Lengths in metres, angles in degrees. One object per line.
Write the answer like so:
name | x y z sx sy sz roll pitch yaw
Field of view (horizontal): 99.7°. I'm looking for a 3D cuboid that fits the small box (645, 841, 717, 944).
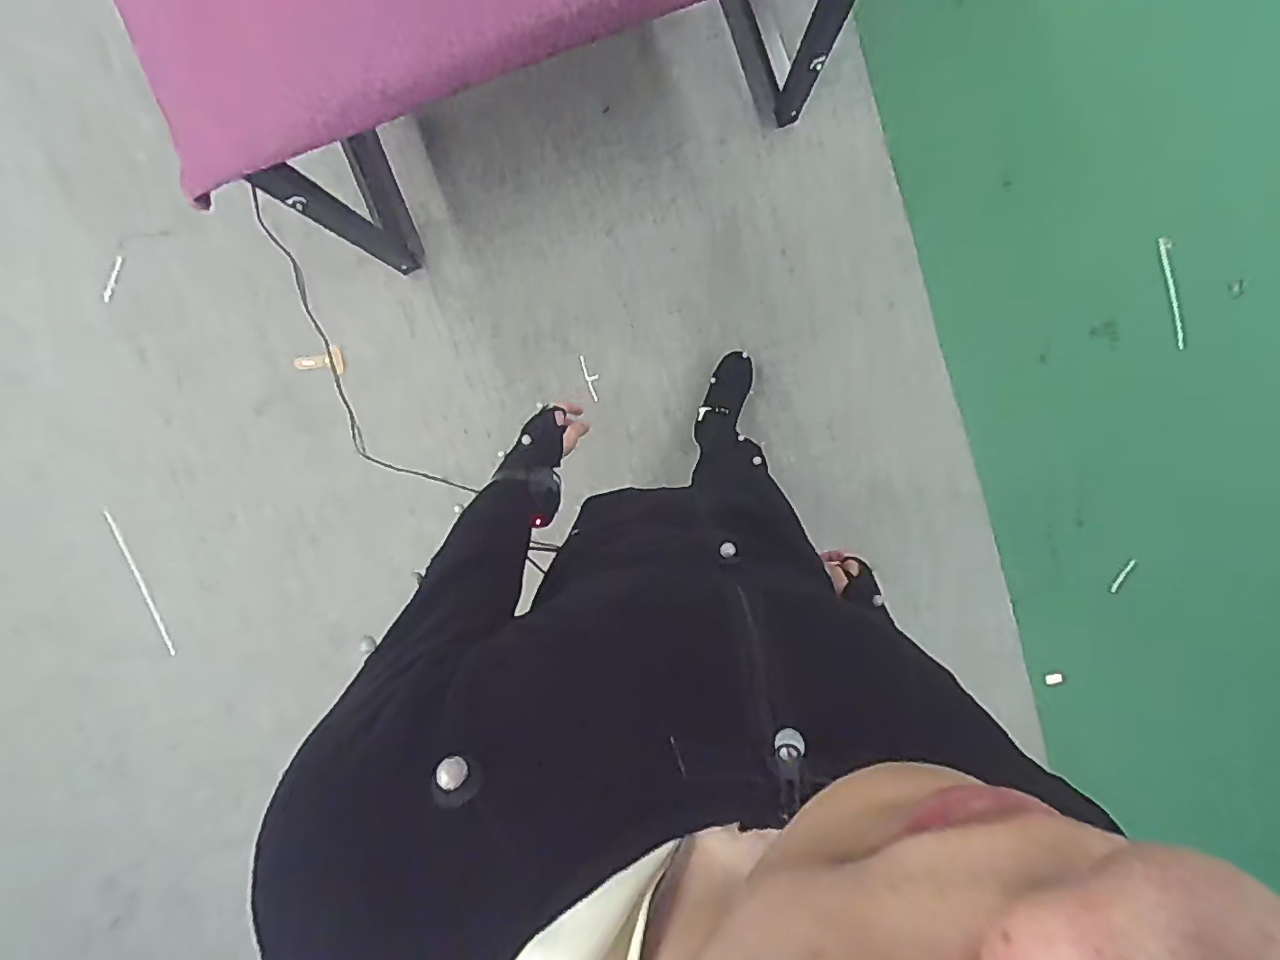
small box | 0.120 1.250 1.653 0.179 0.176 0.168 -19 95 3
